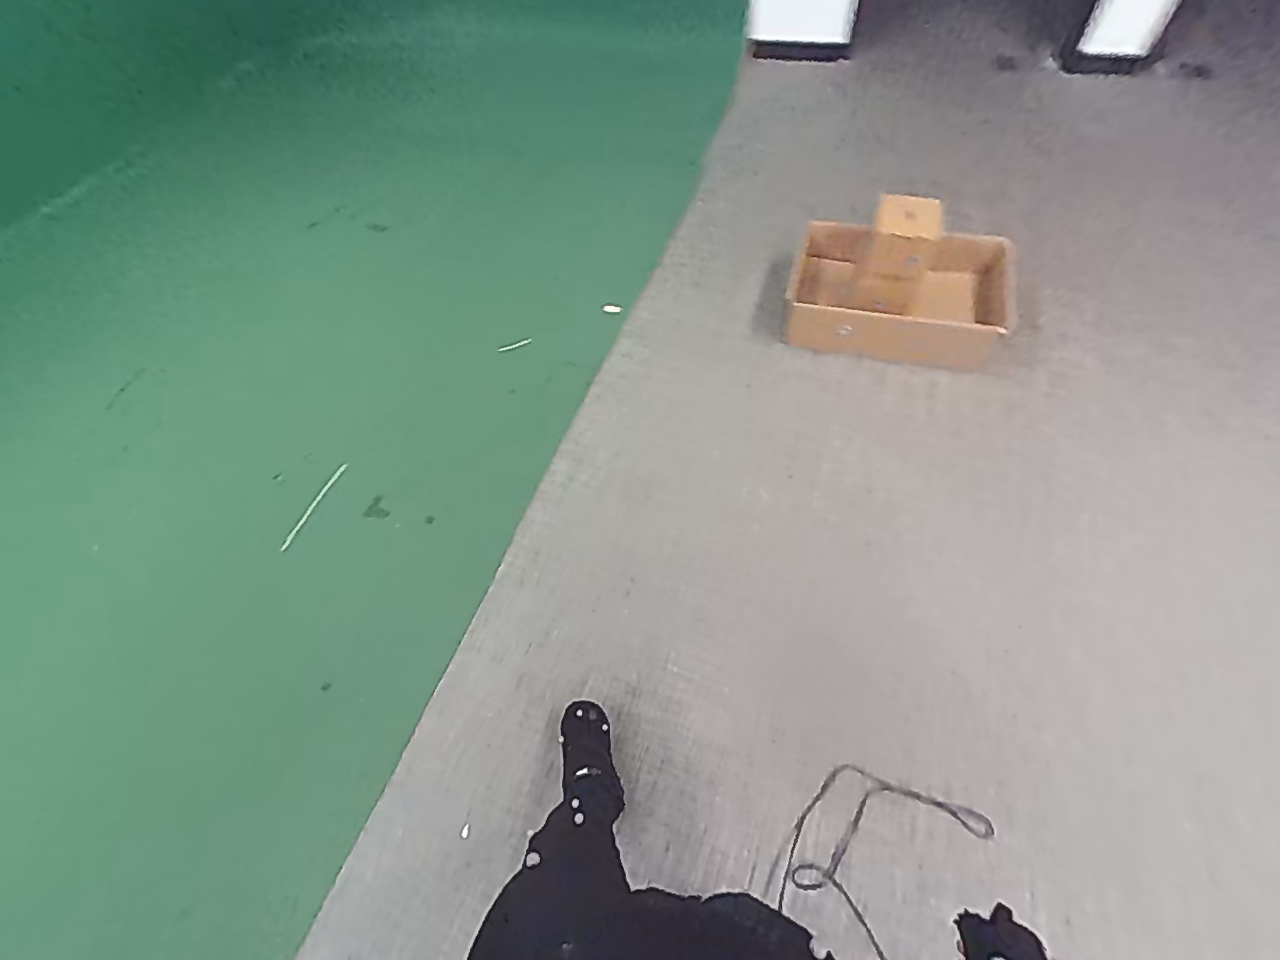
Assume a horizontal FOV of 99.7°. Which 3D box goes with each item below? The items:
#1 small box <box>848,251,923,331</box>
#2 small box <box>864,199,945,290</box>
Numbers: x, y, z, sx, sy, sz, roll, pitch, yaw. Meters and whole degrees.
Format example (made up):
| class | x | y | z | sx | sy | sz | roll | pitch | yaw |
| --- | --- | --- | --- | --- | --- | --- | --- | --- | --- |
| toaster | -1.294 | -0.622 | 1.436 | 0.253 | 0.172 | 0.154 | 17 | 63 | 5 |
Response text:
| class | x | y | z | sx | sy | sz | roll | pitch | yaw |
| --- | --- | --- | --- | --- | --- | --- | --- | --- | --- |
| small box | 0.766 | -0.587 | 1.691 | 0.179 | 0.176 | 0.168 | 10 | 61 | 14 |
| small box | 0.757 | -0.674 | 1.556 | 0.168 | 0.176 | 0.179 | 13 | 61 | 11 |
